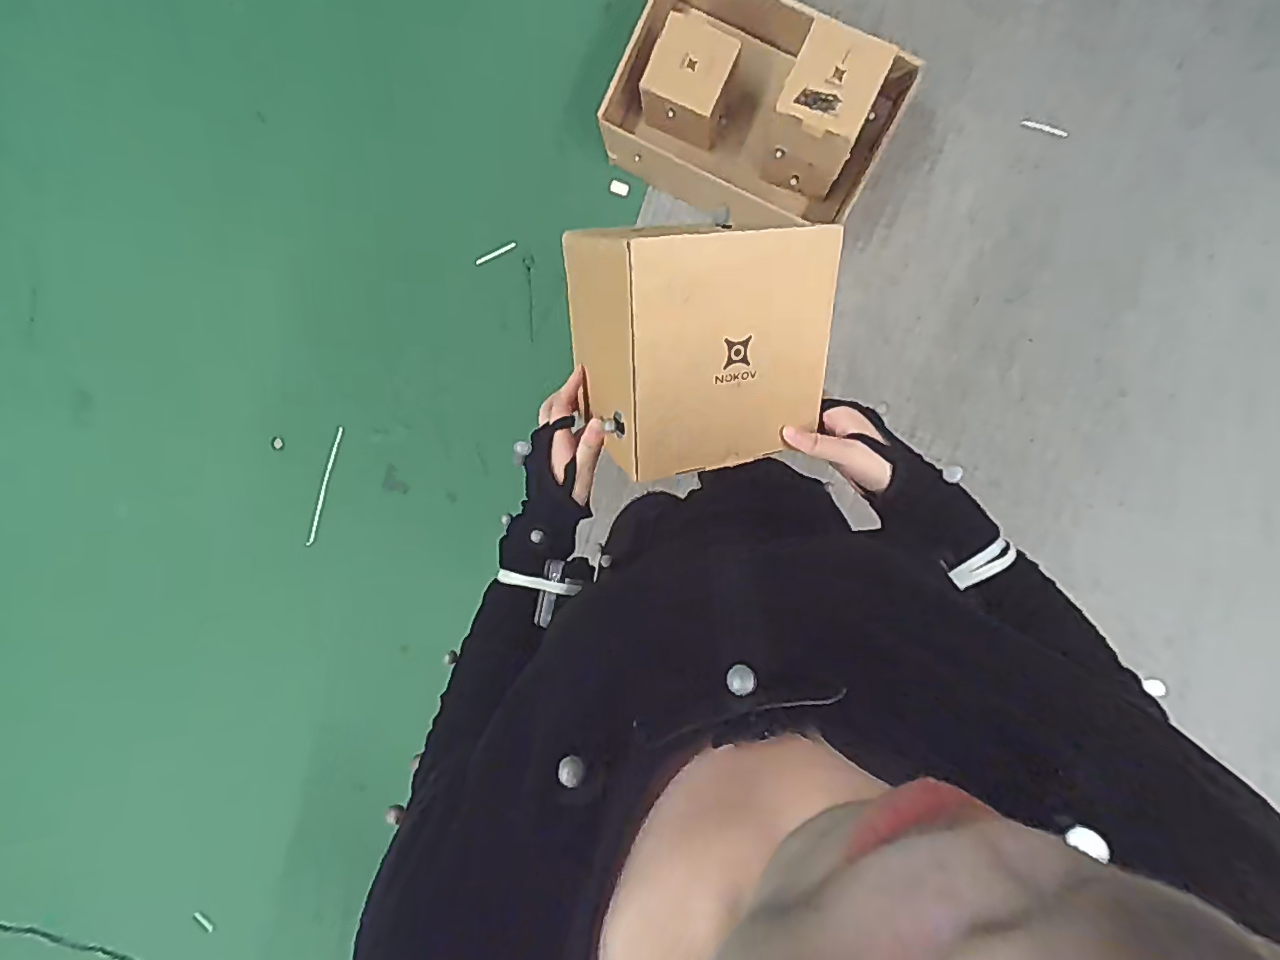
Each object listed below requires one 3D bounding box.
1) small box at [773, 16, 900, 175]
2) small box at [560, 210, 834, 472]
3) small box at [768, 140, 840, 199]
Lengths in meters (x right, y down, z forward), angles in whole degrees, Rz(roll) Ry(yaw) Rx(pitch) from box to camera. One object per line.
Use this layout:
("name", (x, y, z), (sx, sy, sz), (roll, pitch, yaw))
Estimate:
("small box", (0.378, -0.748, 1.076), (0.168, 0.176, 0.179), (26, 98, 5))
("small box", (0.034, -0.132, 0.463), (0.168, 0.176, 0.179), (-12, 121, -18))
("small box", (0.403, -0.780, 1.236), (0.168, 0.176, 0.179), (24, 100, 4))
